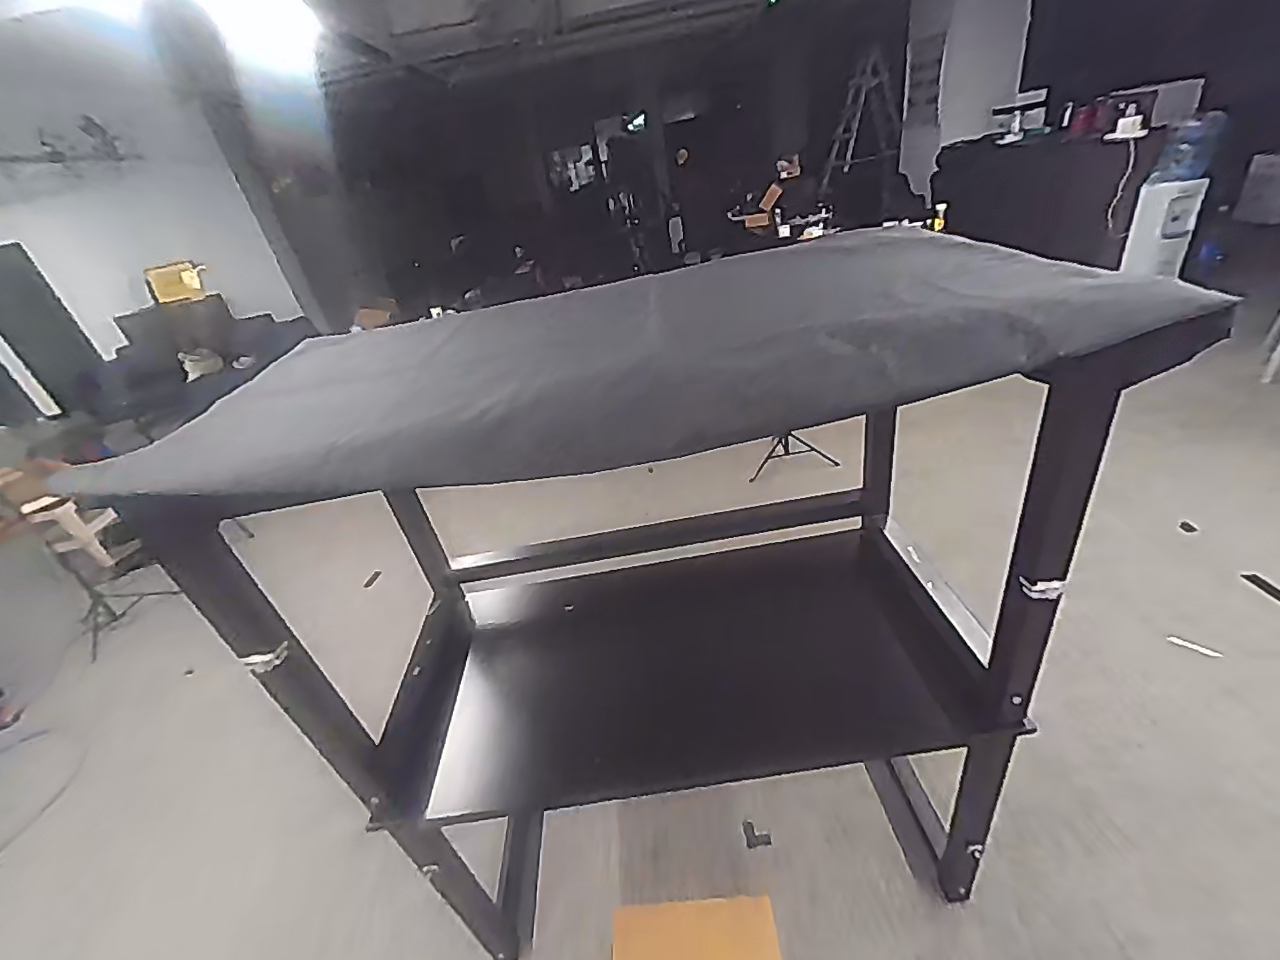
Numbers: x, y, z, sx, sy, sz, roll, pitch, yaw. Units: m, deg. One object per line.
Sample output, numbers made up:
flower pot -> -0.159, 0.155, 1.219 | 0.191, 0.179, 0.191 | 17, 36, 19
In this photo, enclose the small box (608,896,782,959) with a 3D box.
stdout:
small box -> 0.062, 0.562, 0.540 | 0.179, 0.176, 0.168 | -6, 16, 3
